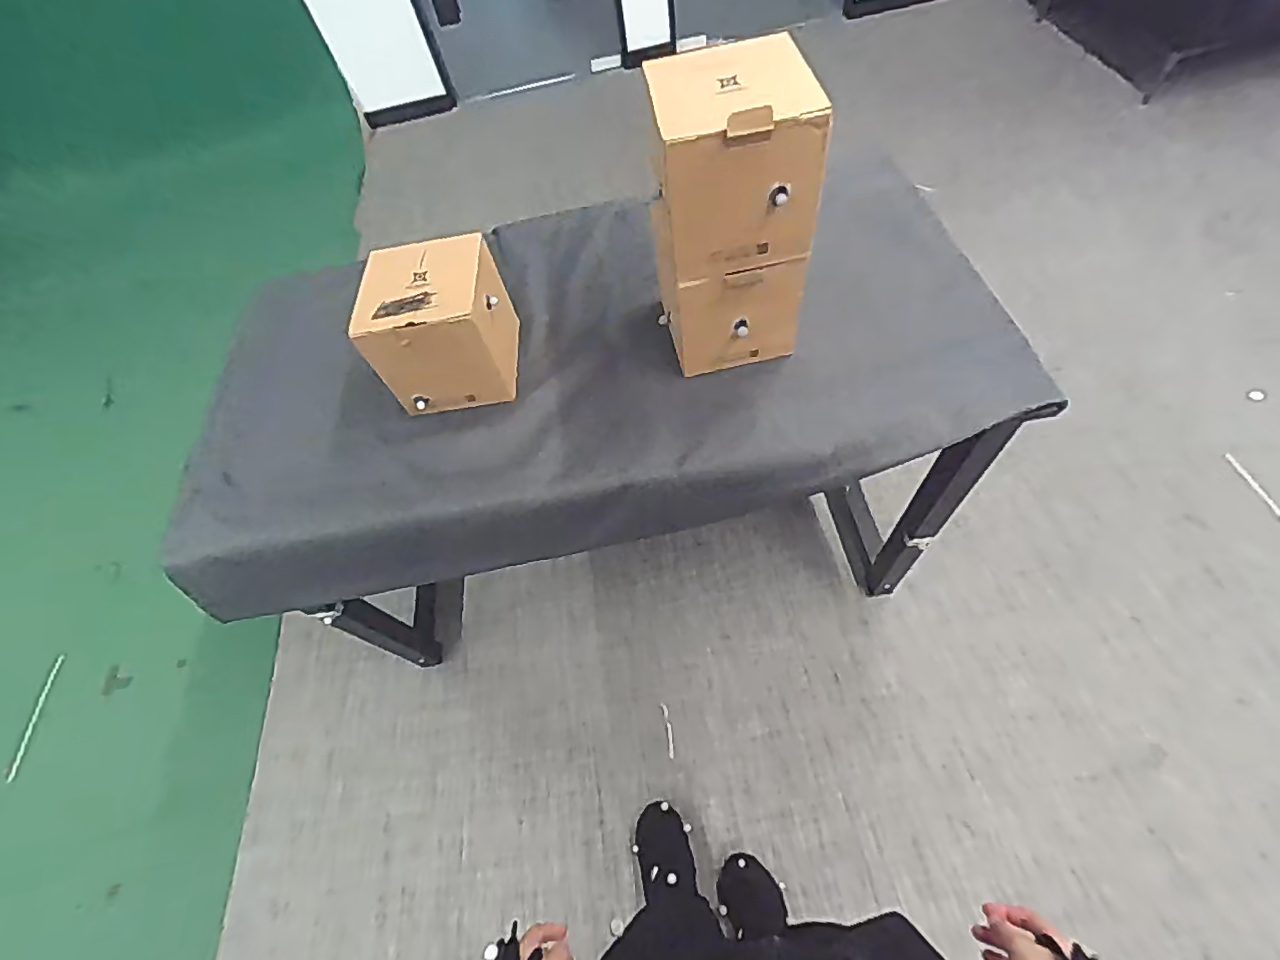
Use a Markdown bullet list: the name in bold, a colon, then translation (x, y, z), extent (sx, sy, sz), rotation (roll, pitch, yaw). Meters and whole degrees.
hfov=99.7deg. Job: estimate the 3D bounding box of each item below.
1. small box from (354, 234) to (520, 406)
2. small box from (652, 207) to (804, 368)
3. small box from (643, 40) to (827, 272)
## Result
- **small box**: translation (-0.282, -0.225, 0.797), extent (0.168, 0.176, 0.179), rotation (-8, 57, 4)
- **small box**: translation (0.120, -0.279, 0.769), extent (0.168, 0.176, 0.179), rotation (-12, 58, 1)
- **small box**: translation (0.102, -0.364, 0.631), extent (0.168, 0.176, 0.179), rotation (-9, 57, 2)
